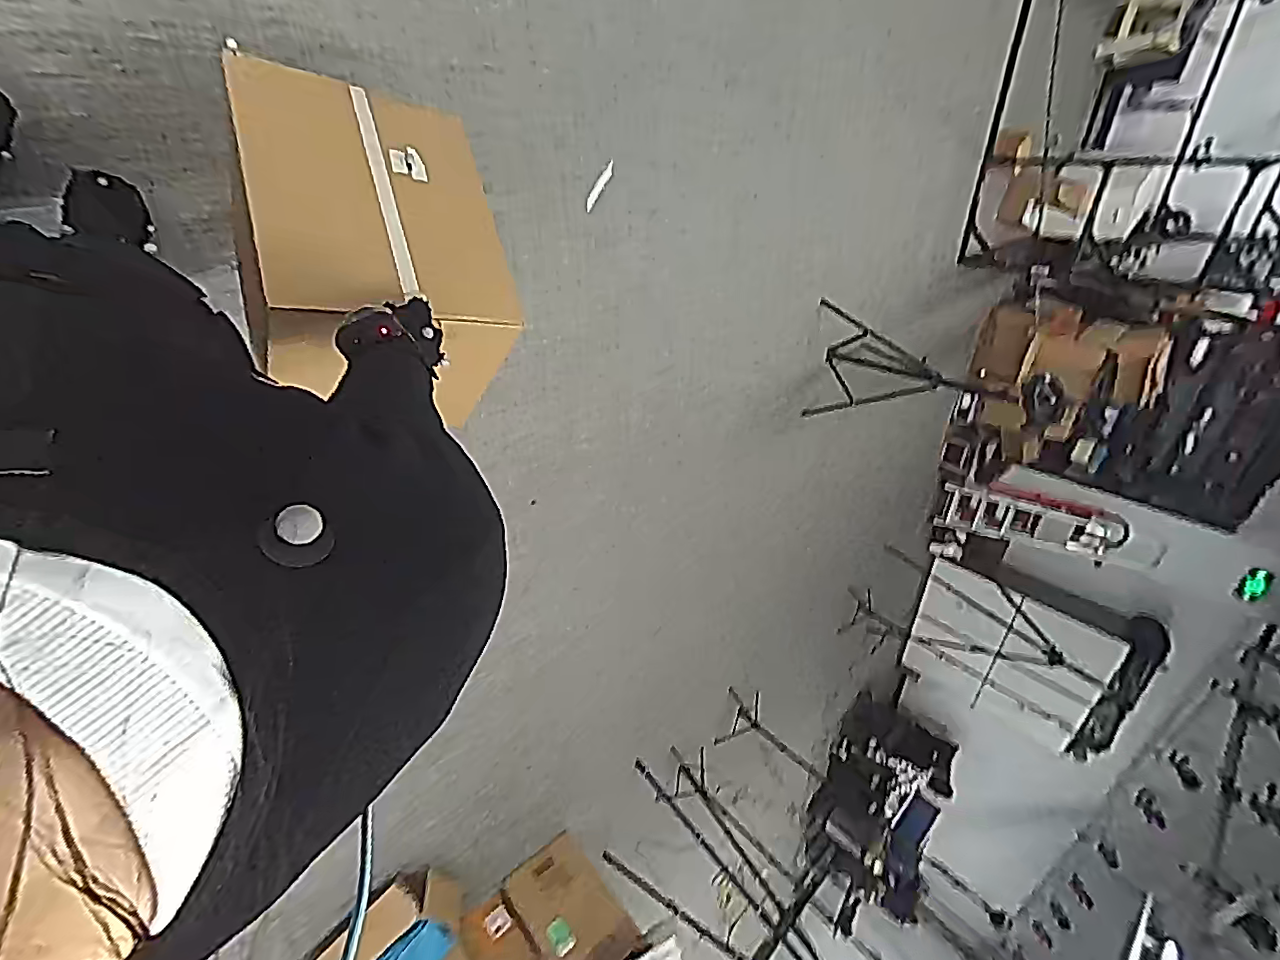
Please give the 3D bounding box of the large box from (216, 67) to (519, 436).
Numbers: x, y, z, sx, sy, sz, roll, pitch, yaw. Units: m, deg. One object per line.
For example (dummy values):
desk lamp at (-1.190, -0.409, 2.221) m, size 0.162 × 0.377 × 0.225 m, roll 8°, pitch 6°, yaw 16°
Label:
large box at (-0.442, -0.325, 0.864) m, size 0.320 × 0.408 × 0.320 m, roll -9°, pitch 161°, yaw -39°
